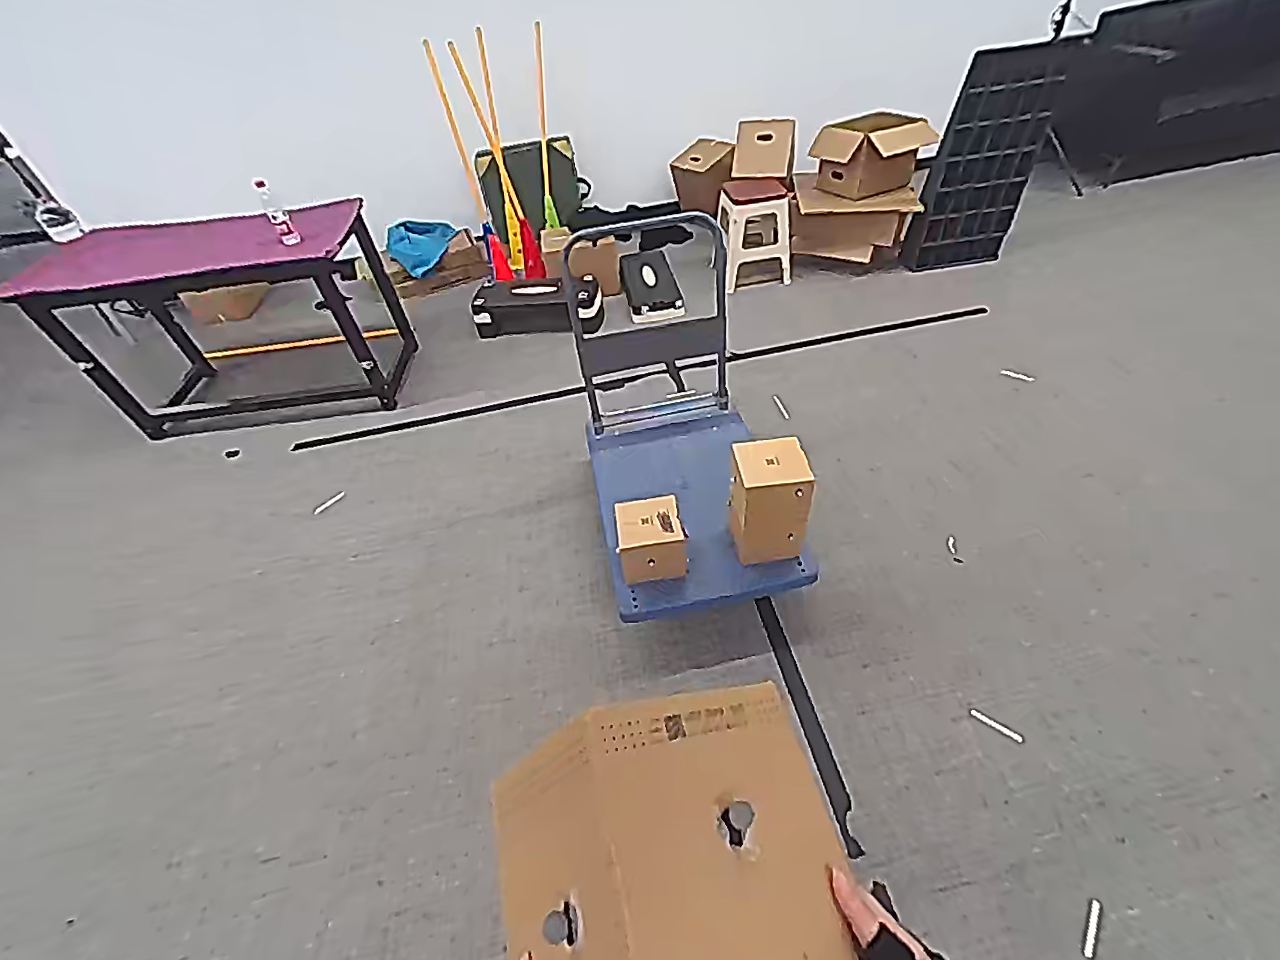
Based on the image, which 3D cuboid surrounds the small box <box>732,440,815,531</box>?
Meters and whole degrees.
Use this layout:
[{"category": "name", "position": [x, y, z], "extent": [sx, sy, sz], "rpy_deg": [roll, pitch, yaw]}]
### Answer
[{"category": "small box", "position": [0.341, 0.019, 1.417], "extent": [0.179, 0.176, 0.168], "rpy_deg": [-7, 45, 0]}]

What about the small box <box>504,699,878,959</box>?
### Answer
[{"category": "small box", "position": [0.015, 0.264, 0.378], "extent": [0.168, 0.179, 0.176], "rpy_deg": [8, 47, -33]}]

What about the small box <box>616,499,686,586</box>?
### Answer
[{"category": "small box", "position": [0.034, 0.179, 1.529], "extent": [0.179, 0.176, 0.168], "rpy_deg": [-9, 45, 0]}]
